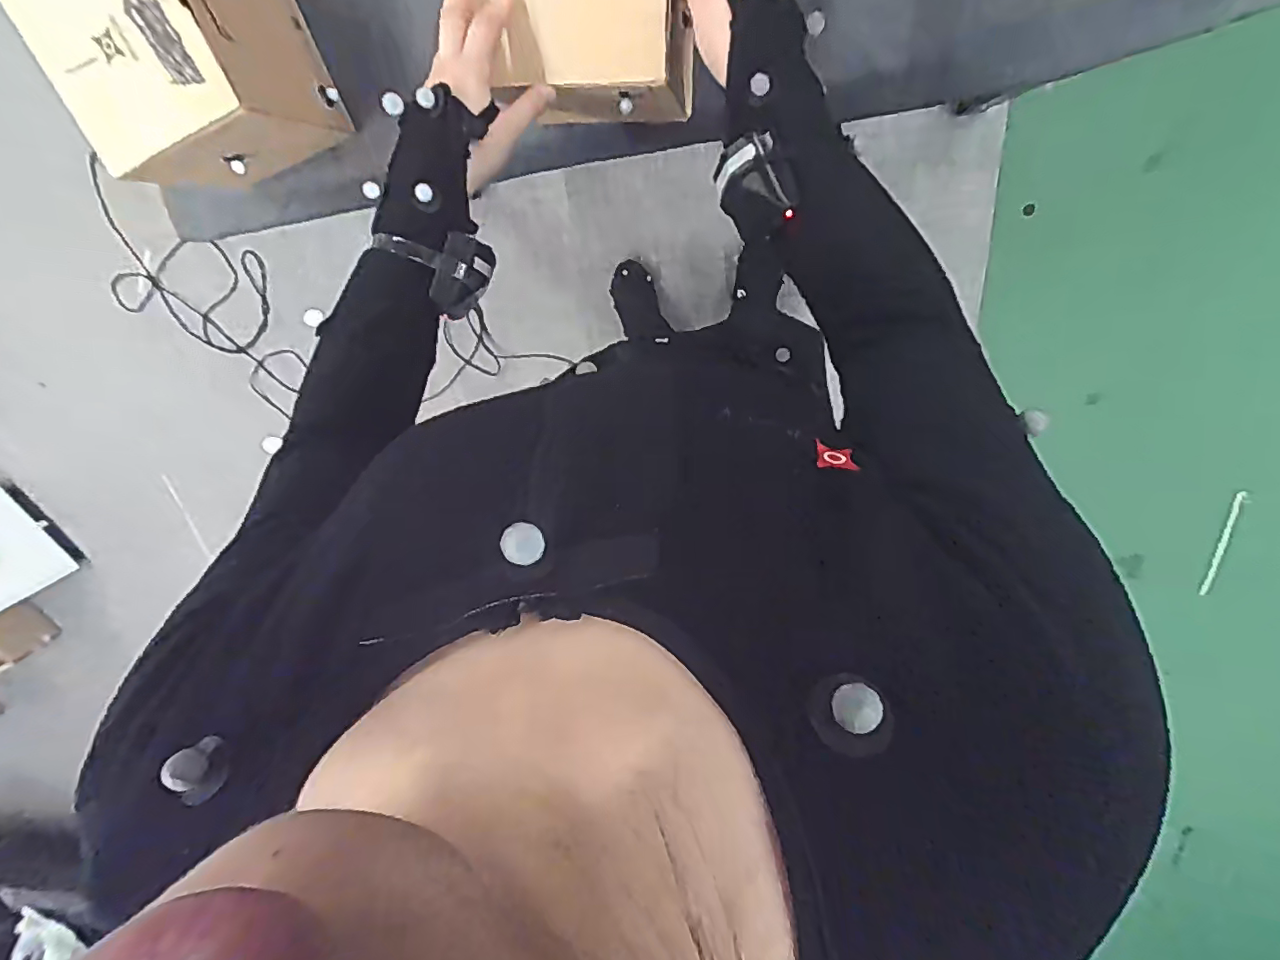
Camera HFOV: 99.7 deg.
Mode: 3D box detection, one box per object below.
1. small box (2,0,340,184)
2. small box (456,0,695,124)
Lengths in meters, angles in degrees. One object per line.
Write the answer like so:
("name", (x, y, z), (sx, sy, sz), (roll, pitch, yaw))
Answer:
("small box", (-0.443, -0.417, 0.546), (0.179, 0.176, 0.168), (-13, 113, 16))
("small box", (-0.047, -0.425, 0.477), (0.179, 0.176, 0.168), (4, 116, 9))
